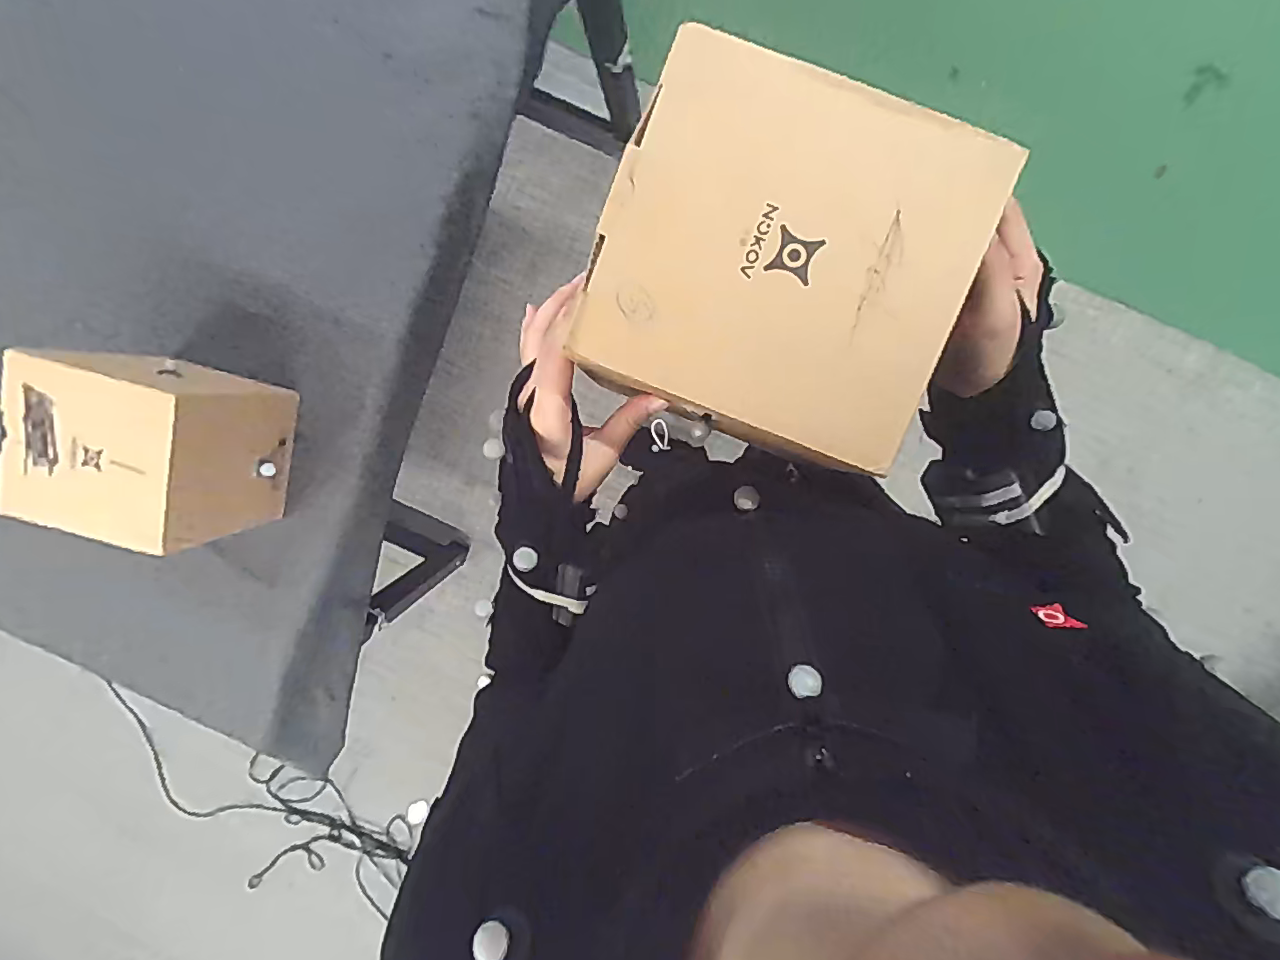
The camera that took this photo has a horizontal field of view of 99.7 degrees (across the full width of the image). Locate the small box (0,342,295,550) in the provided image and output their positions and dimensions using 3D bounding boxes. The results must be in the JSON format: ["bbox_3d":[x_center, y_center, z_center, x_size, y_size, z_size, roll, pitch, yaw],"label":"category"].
[{"bbox_3d":[-0.527,-0.043,0.593,0.179,0.176,0.168,15,101,1],"label":"small box"}]
